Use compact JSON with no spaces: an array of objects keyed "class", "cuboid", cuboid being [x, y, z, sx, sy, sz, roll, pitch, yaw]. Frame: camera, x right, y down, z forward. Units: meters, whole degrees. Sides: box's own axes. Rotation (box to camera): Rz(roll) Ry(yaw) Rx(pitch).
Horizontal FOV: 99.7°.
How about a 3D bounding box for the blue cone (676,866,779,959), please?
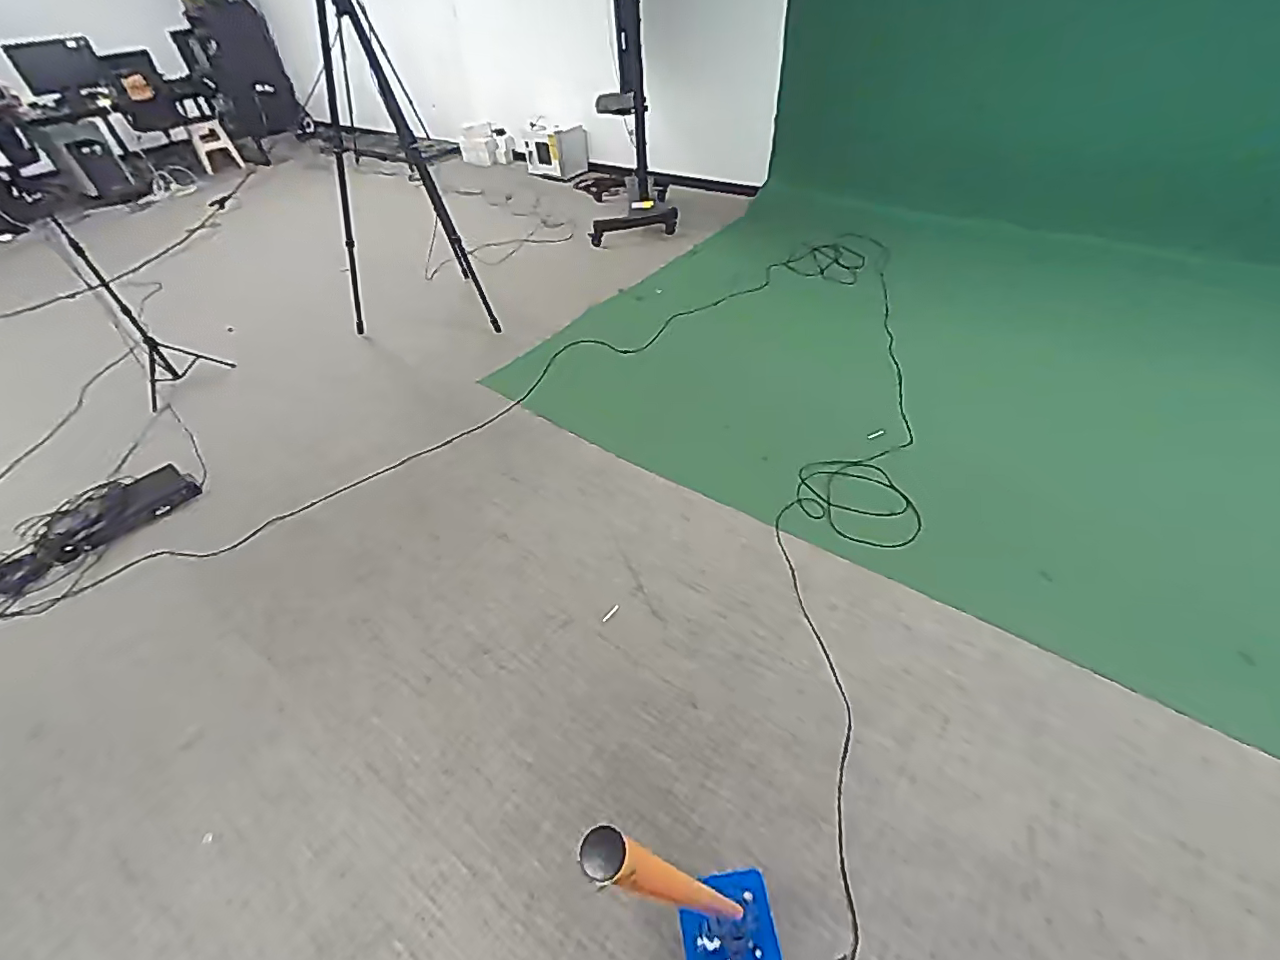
[{"class":"blue cone","cuboid":[0.169,0.834,1.024,0.193,0.380,0.192,-10,46,-3]}]
